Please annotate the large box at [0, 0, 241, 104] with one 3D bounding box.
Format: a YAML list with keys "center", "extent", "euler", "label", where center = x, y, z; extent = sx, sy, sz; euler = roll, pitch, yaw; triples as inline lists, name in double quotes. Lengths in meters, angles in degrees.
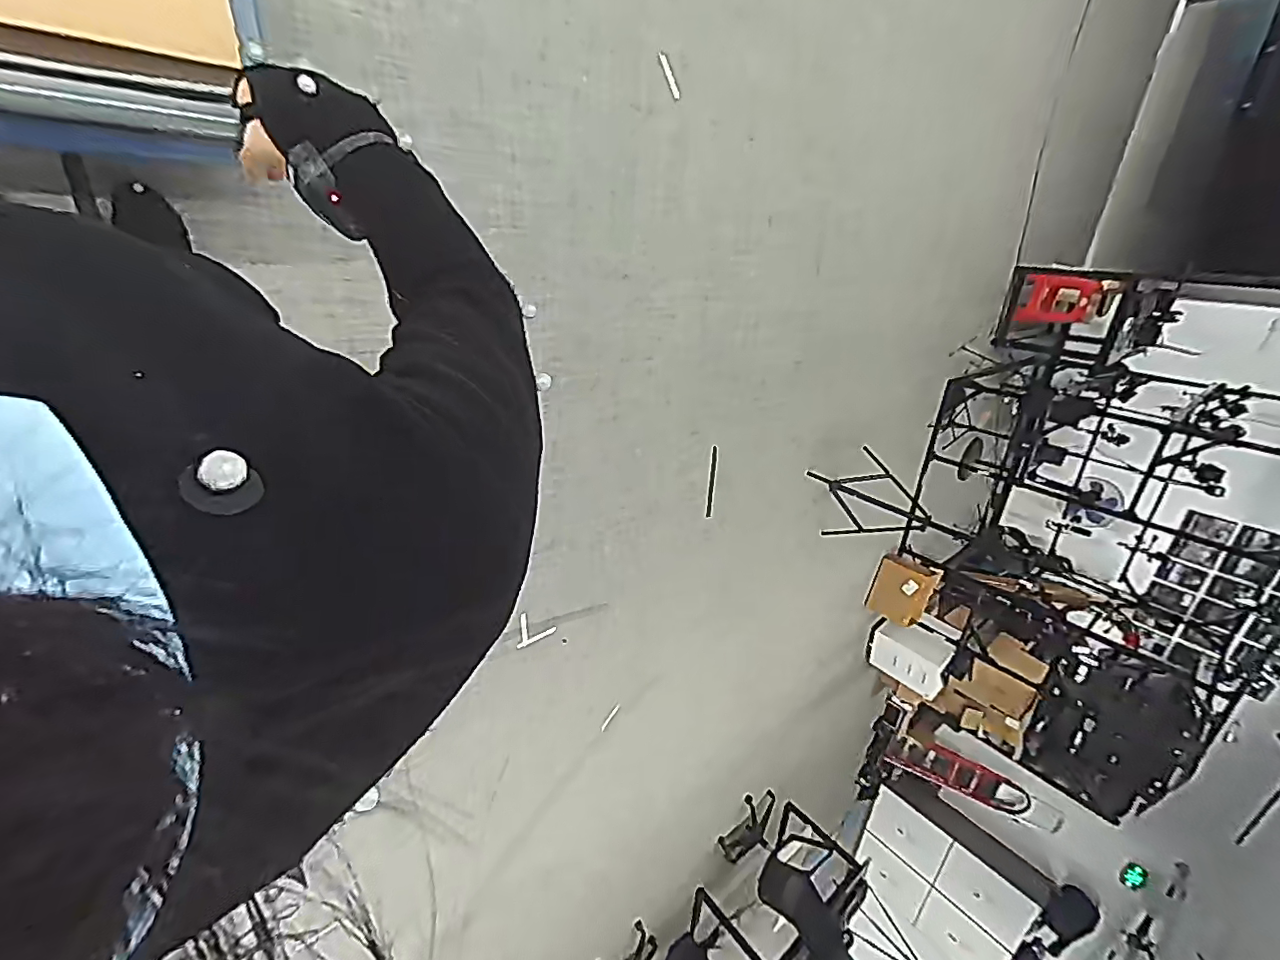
- center: [-0.764, -0.674, 0.627]
  extent: [0.408, 0.320, 0.320]
  euler: [-17, 122, -39]
  label: "large box"
